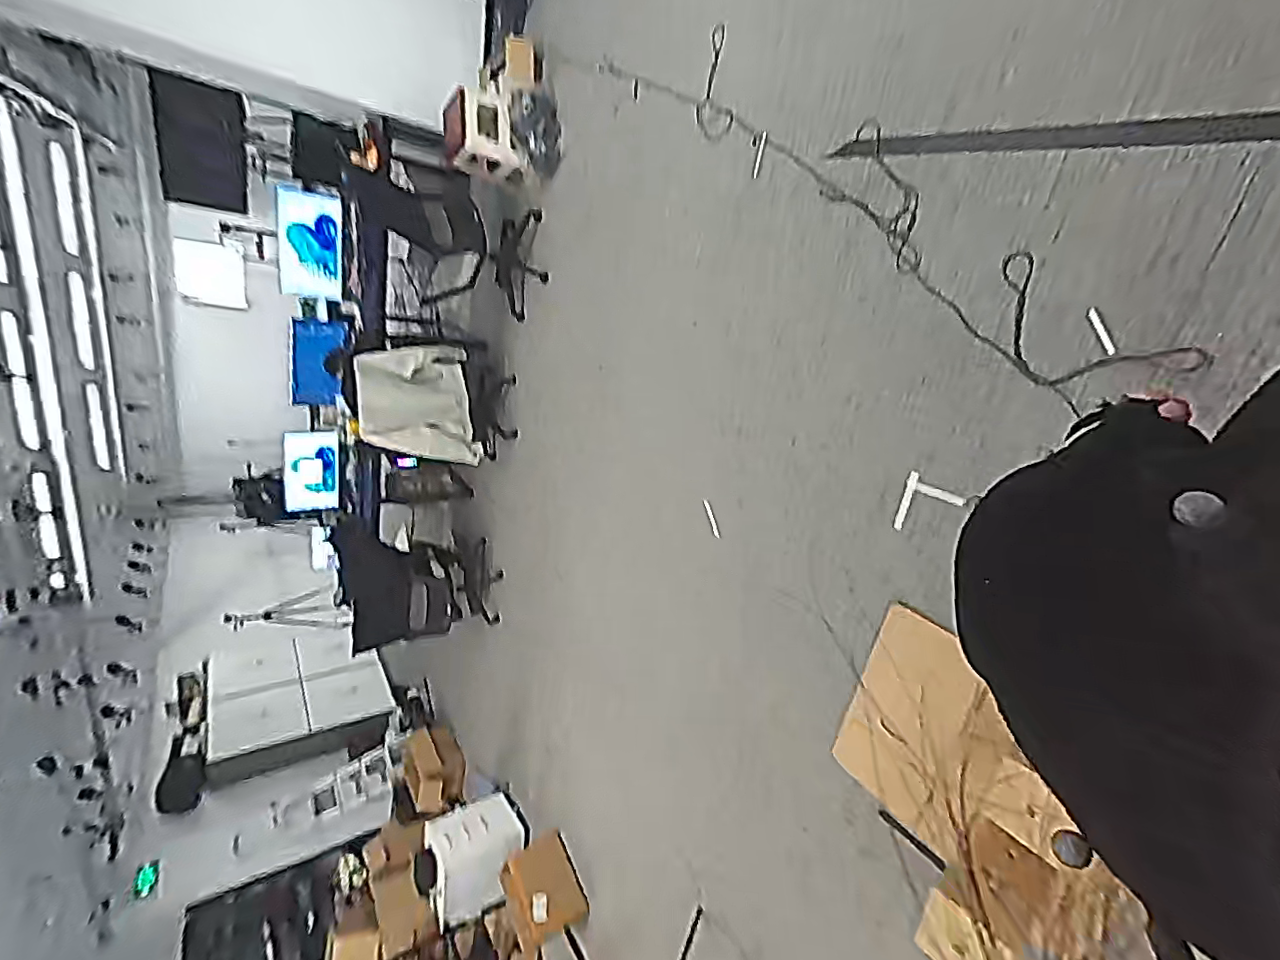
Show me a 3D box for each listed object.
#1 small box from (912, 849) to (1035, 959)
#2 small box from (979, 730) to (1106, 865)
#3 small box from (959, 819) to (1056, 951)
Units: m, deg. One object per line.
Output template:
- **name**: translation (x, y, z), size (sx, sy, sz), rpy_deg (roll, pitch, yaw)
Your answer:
- **small box**: translation (0.750, 0.991, 1.214), size (0.168, 0.176, 0.179), rpy_deg (26, 114, 47)
- **small box**: translation (0.921, 0.711, 1.235), size (0.168, 0.176, 0.179), rpy_deg (31, 118, 48)
- **small box**: translation (0.878, 0.978, 1.317), size (0.168, 0.176, 0.179), rpy_deg (24, 112, 49)
